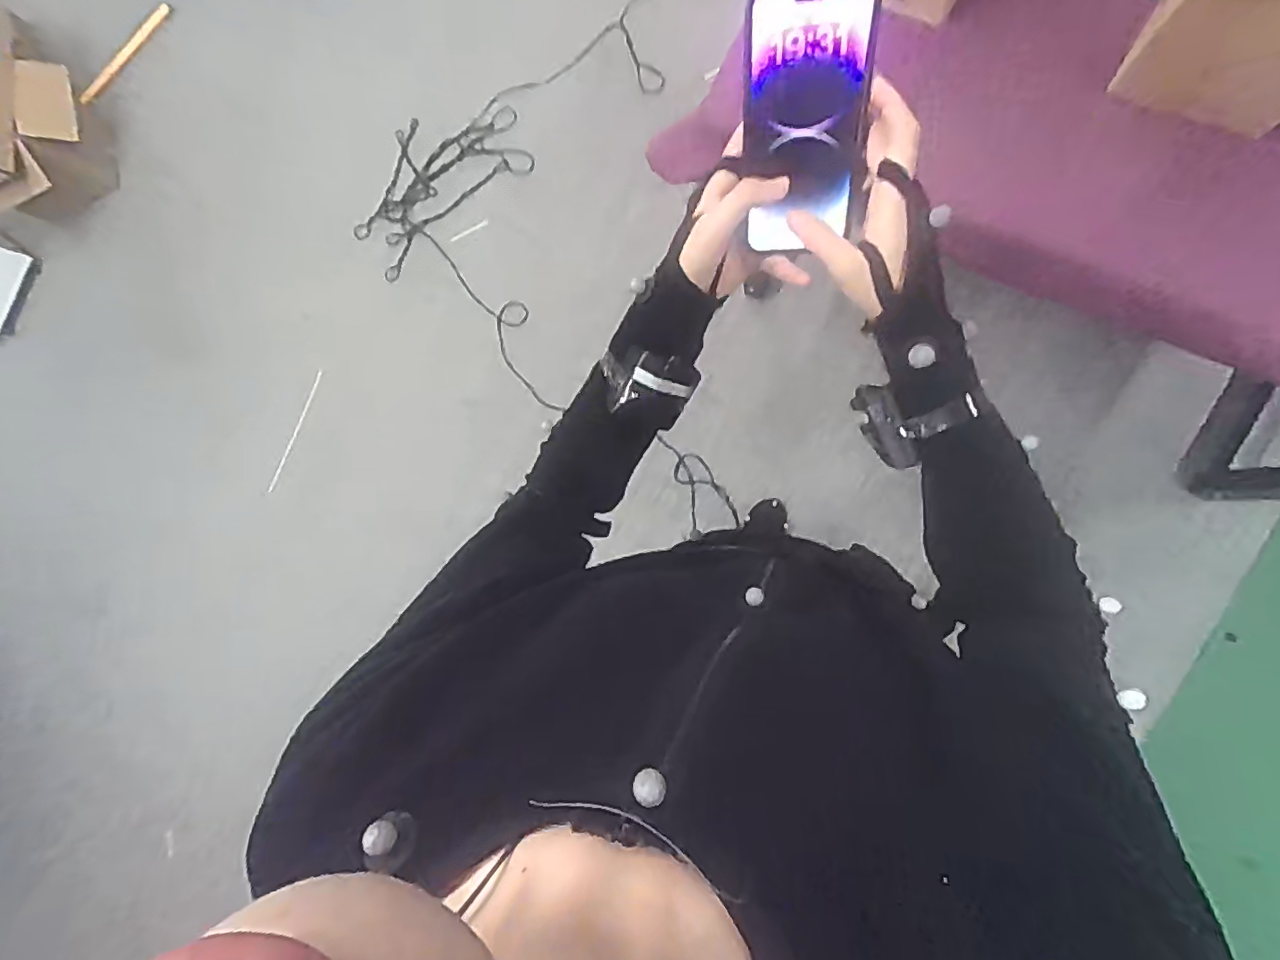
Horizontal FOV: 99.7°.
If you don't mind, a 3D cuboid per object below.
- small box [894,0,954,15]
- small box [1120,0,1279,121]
[{"bbox_3d":[0.357,-0.728,0.654,0.168,0.176,0.179,31,95,14],"label":"small box"},{"bbox_3d":[0.673,-0.518,0.558,0.179,0.176,0.168,30,95,15],"label":"small box"}]
